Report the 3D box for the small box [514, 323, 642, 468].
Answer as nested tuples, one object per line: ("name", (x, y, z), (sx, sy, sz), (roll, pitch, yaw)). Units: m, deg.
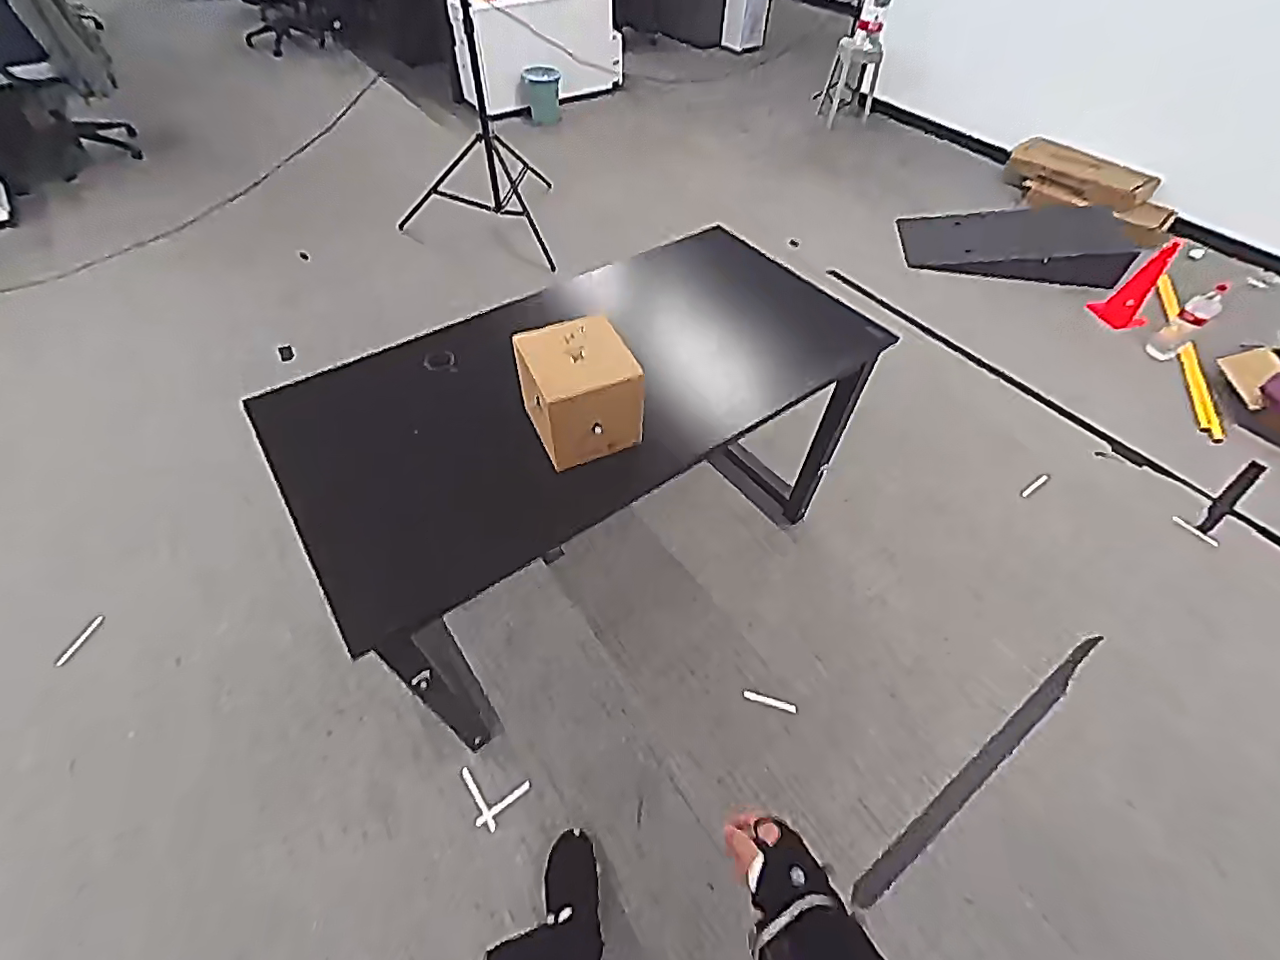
("small box", (-0.106, -0.142, 0.951), (0.168, 0.176, 0.179), (-20, 54, -17))
